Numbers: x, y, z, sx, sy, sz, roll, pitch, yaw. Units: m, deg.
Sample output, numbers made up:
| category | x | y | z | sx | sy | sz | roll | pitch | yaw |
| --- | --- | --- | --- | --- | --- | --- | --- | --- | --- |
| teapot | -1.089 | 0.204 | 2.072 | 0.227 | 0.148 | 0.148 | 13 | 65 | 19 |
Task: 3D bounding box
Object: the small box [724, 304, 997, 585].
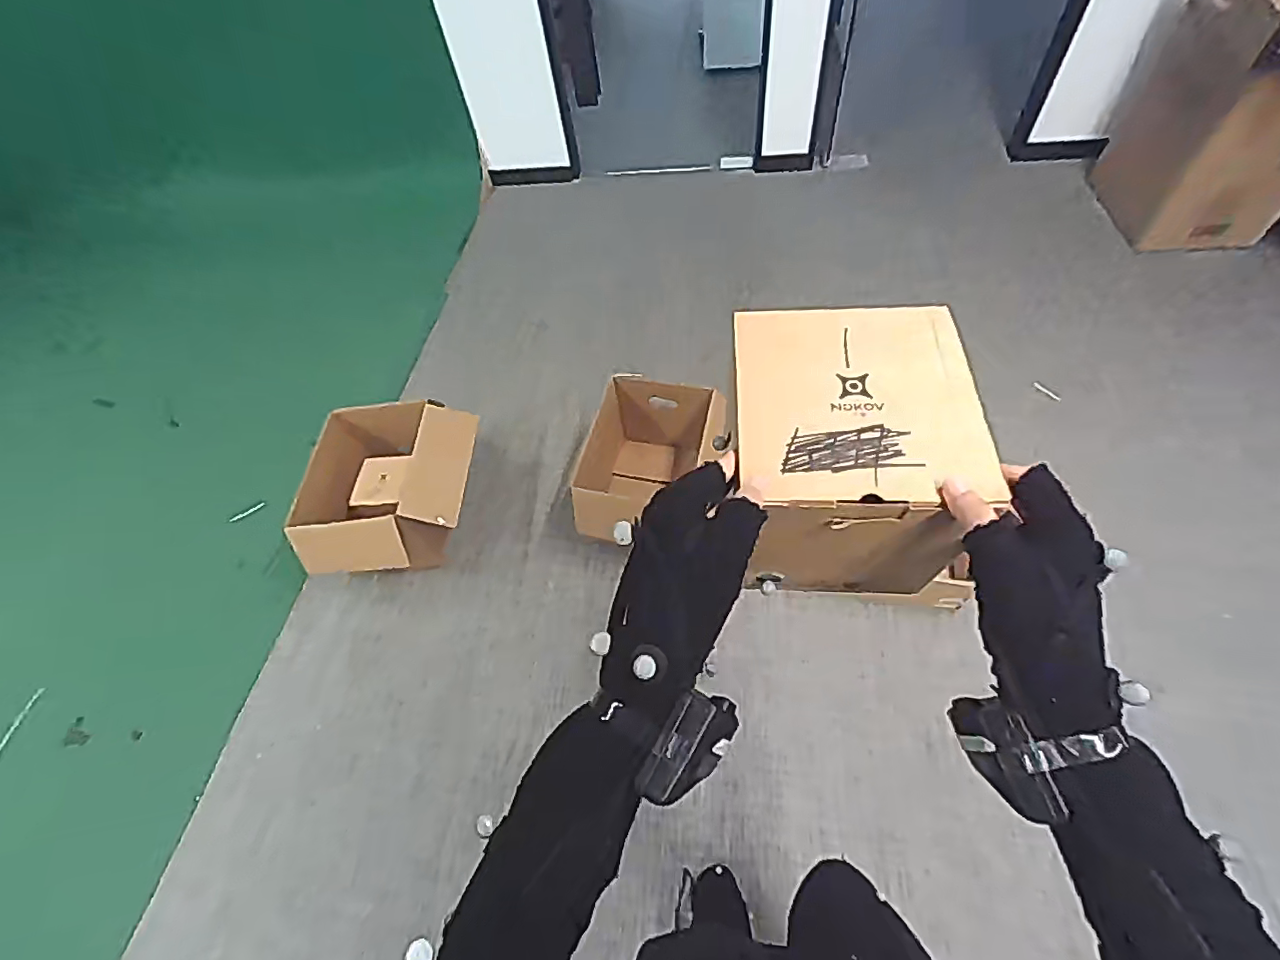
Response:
| category | x | y | z | sx | sy | sz | roll | pitch | yaw |
| --- | --- | --- | --- | --- | --- | --- | --- | --- | --- |
| small box | 0.157 | -0.020 | 0.454 | 0.168 | 0.176 | 0.179 | 0 | 59 | 7 |
